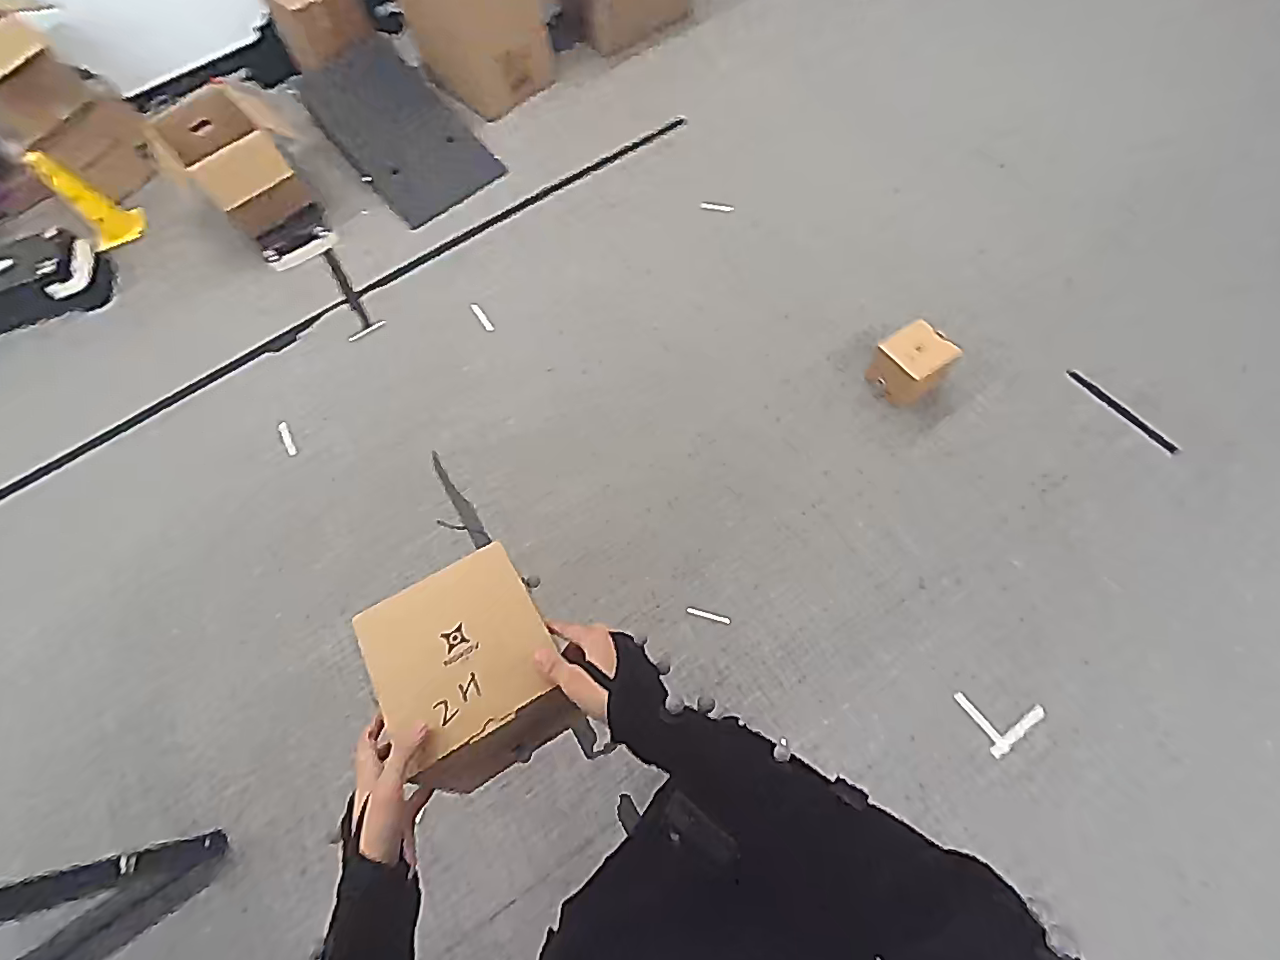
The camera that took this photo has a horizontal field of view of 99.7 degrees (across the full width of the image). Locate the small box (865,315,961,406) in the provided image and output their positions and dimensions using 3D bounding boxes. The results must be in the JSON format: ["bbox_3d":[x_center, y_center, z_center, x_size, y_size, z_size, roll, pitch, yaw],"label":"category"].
[{"bbox_3d":[0.831,-0.364,1.666,0.179,0.176,0.168,-32,66,-8],"label":"small box"}]

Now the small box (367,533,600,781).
[{"bbox_3d":[-0.158,0.195,0.583,0.168,0.176,0.179,-28,60,-14],"label":"small box"}]
